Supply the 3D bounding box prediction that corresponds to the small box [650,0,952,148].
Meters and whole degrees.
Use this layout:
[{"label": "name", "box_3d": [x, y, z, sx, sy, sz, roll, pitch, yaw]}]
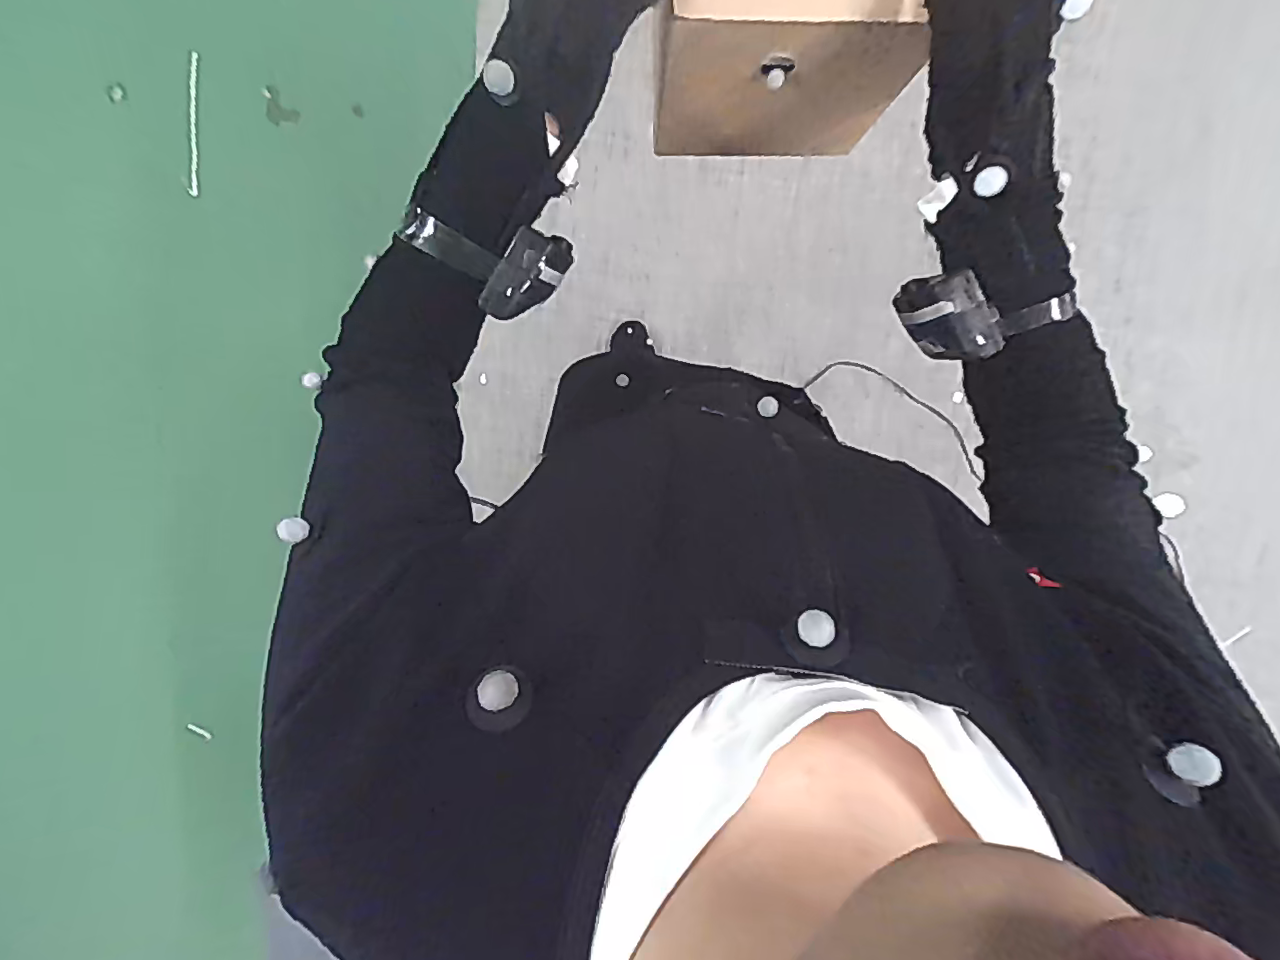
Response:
[{"label": "small box", "box_3d": [0.098, -0.367, 0.393, 0.179, 0.176, 0.168, -1, 97, -3]}]
